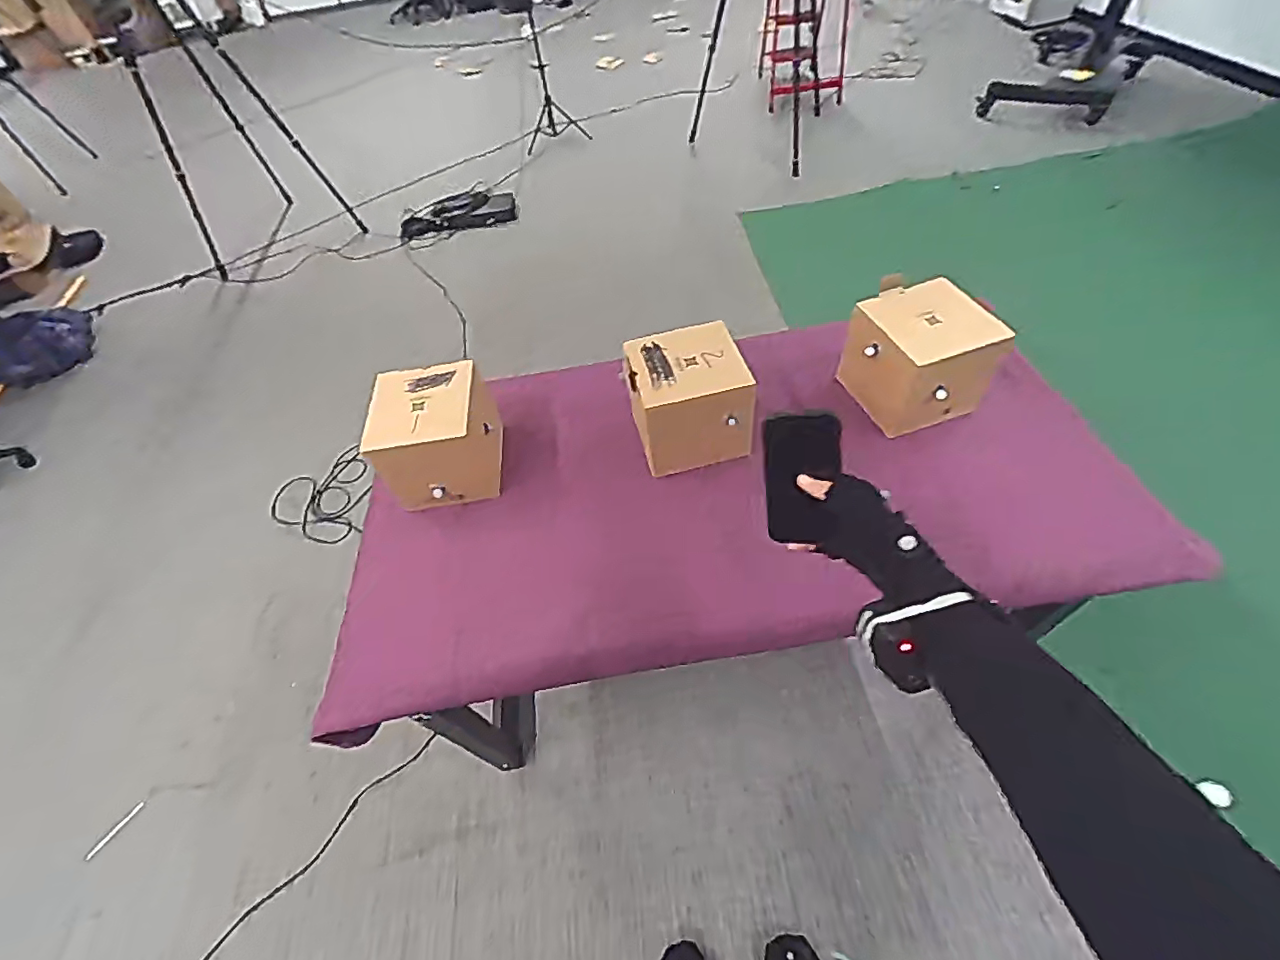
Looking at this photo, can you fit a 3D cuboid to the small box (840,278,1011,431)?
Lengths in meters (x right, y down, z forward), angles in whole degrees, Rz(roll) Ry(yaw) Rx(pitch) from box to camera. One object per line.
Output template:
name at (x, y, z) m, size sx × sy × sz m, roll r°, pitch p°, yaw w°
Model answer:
small box at (0.463, -0.203, 0.912) m, size 0.168 × 0.176 × 0.179 m, roll -18°, pitch 52°, yaw -6°

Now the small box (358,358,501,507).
small box at (-0.341, -0.078, 0.916) m, size 0.168 × 0.176 × 0.179 m, roll -9°, pitch 54°, yaw 1°
